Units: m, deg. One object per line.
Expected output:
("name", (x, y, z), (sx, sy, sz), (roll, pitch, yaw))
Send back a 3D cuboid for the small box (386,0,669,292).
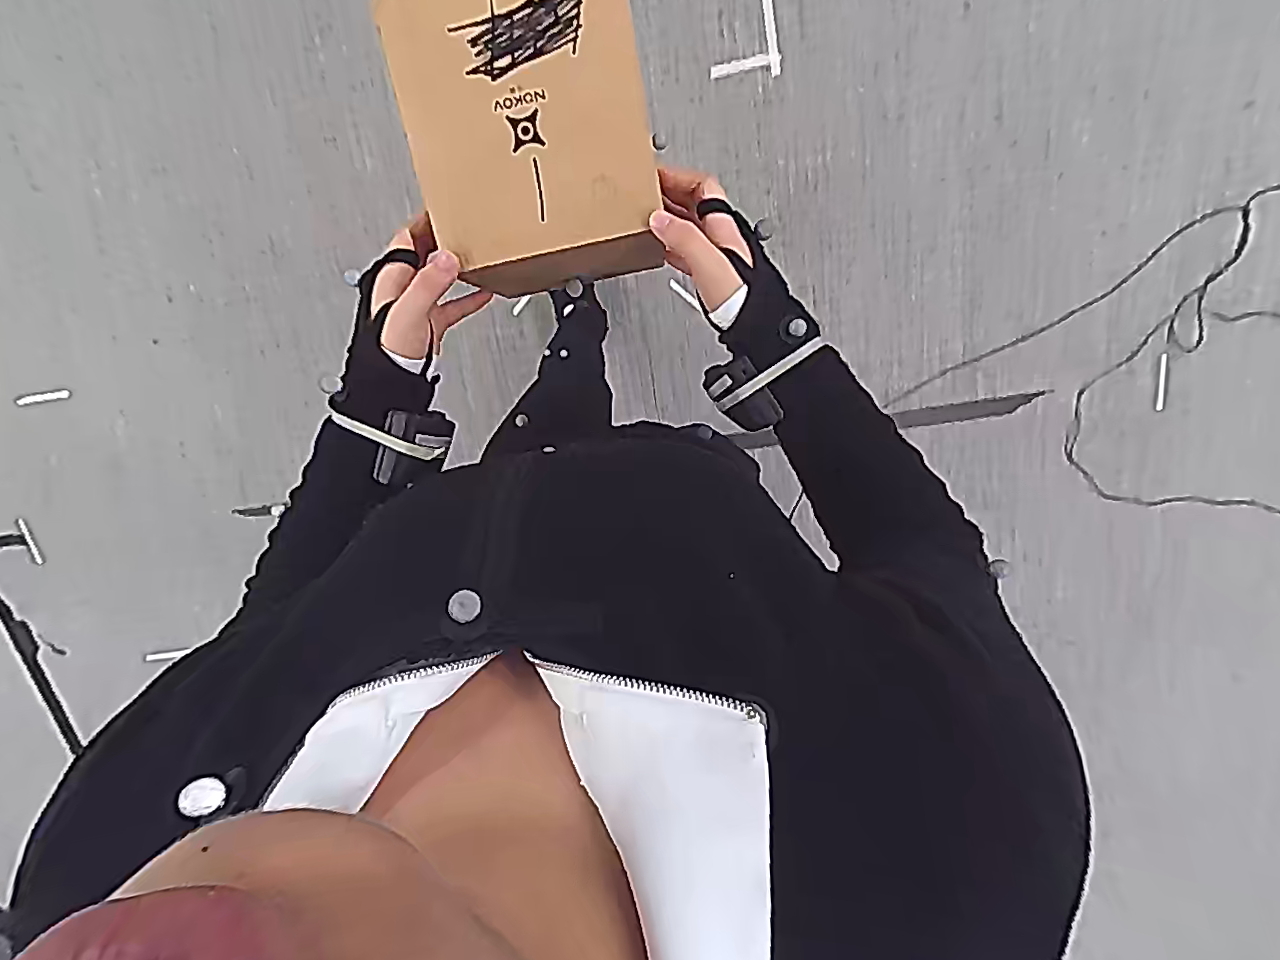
("small box", (-0.073, -0.268, 0.447), (0.168, 0.176, 0.179), (-10, 103, 4))
